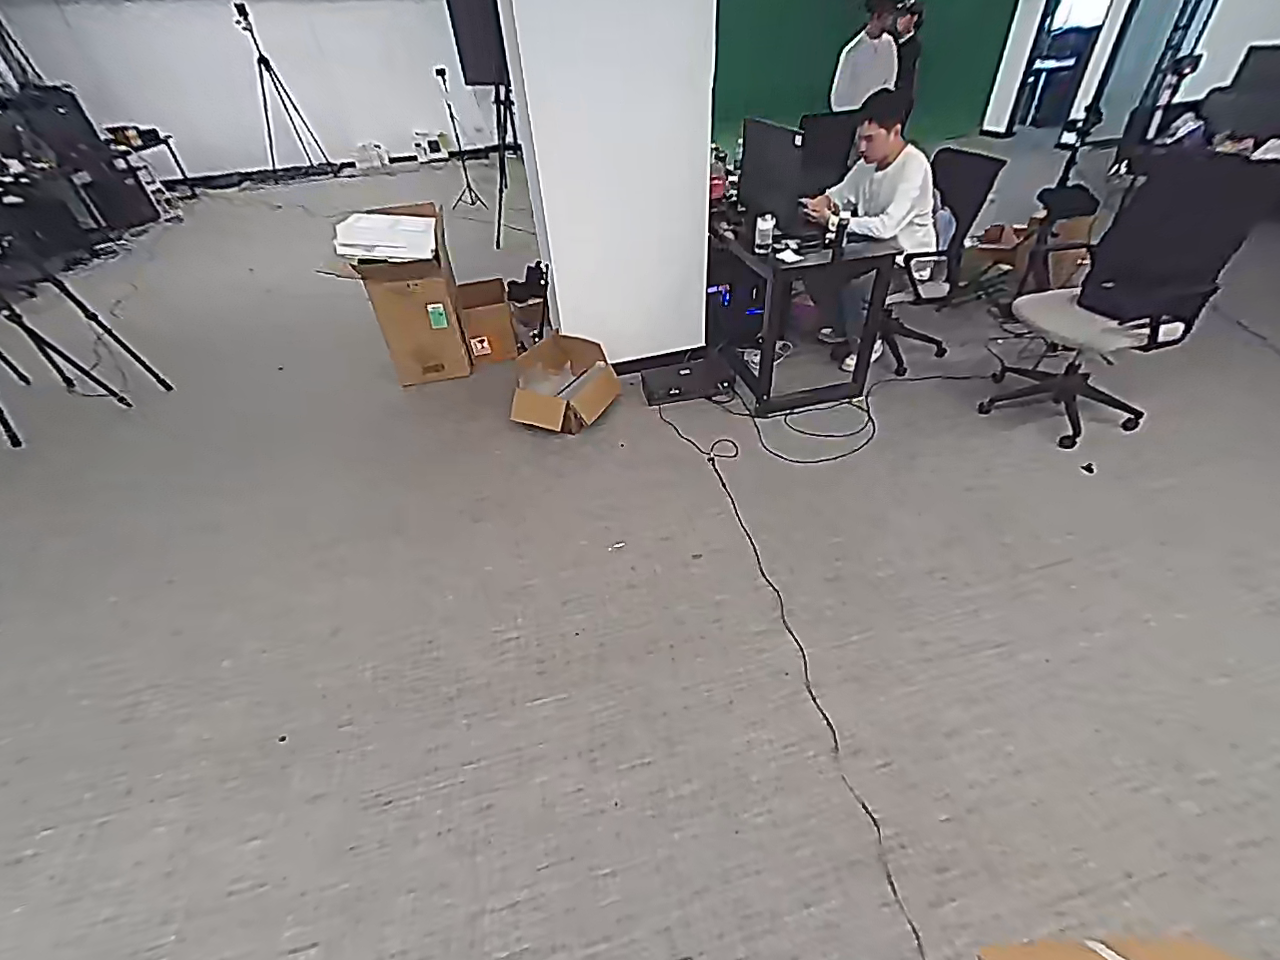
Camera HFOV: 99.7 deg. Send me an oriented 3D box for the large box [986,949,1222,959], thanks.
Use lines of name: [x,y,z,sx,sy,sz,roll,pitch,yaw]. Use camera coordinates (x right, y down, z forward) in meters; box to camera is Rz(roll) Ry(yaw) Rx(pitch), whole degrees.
large box: [0.627,0.744,0.522,0.320,0.408,0.320,-5,72,4]
